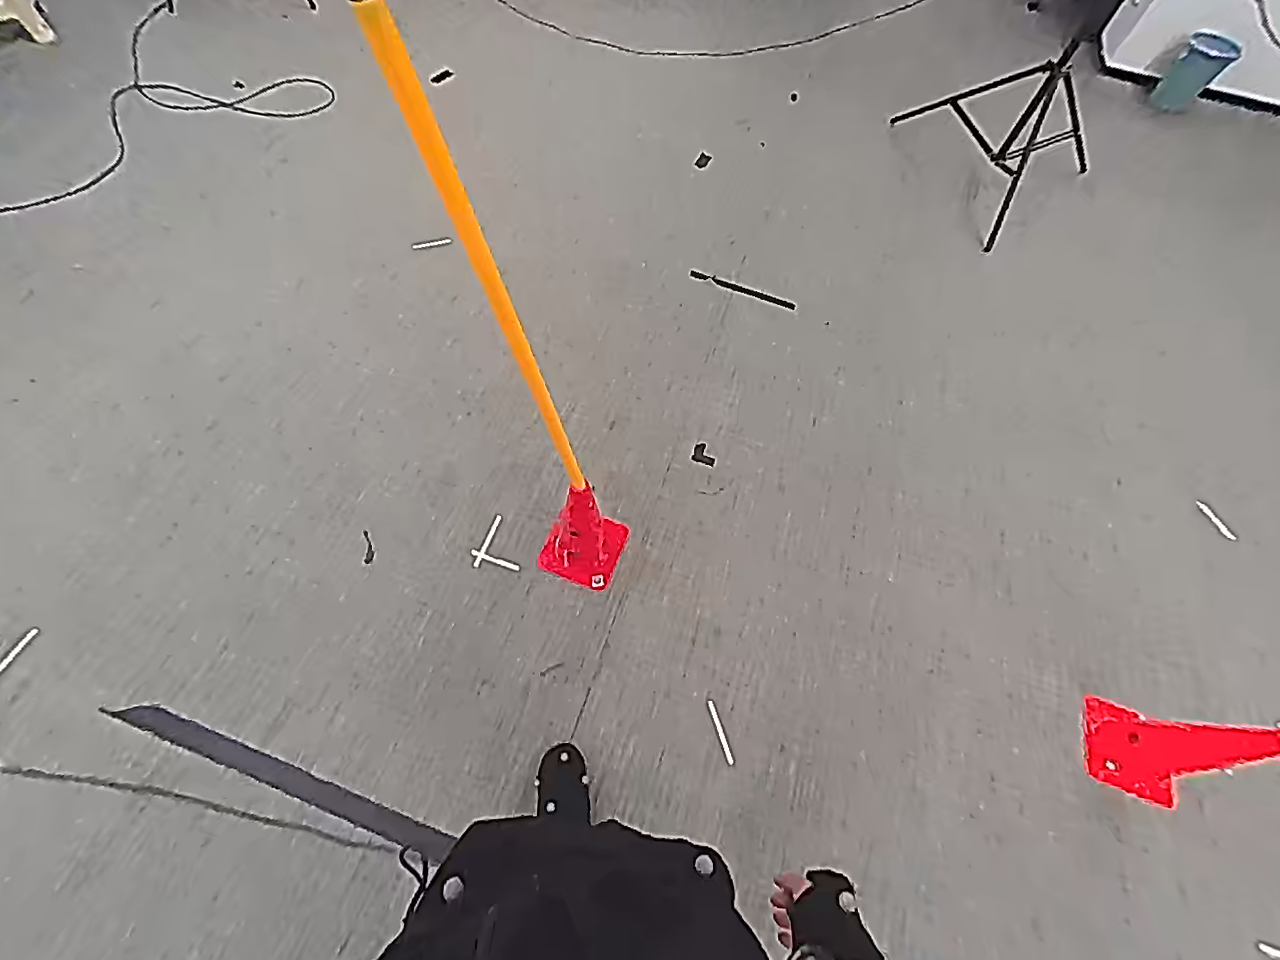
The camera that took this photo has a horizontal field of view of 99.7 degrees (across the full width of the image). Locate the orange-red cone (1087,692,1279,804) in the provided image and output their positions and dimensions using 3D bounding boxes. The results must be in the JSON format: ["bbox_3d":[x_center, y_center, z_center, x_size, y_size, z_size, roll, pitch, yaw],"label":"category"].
[{"bbox_3d":[1.185,0.554,1.138,0.199,0.360,0.198,22,63,7],"label":"orange-red cone"}]
